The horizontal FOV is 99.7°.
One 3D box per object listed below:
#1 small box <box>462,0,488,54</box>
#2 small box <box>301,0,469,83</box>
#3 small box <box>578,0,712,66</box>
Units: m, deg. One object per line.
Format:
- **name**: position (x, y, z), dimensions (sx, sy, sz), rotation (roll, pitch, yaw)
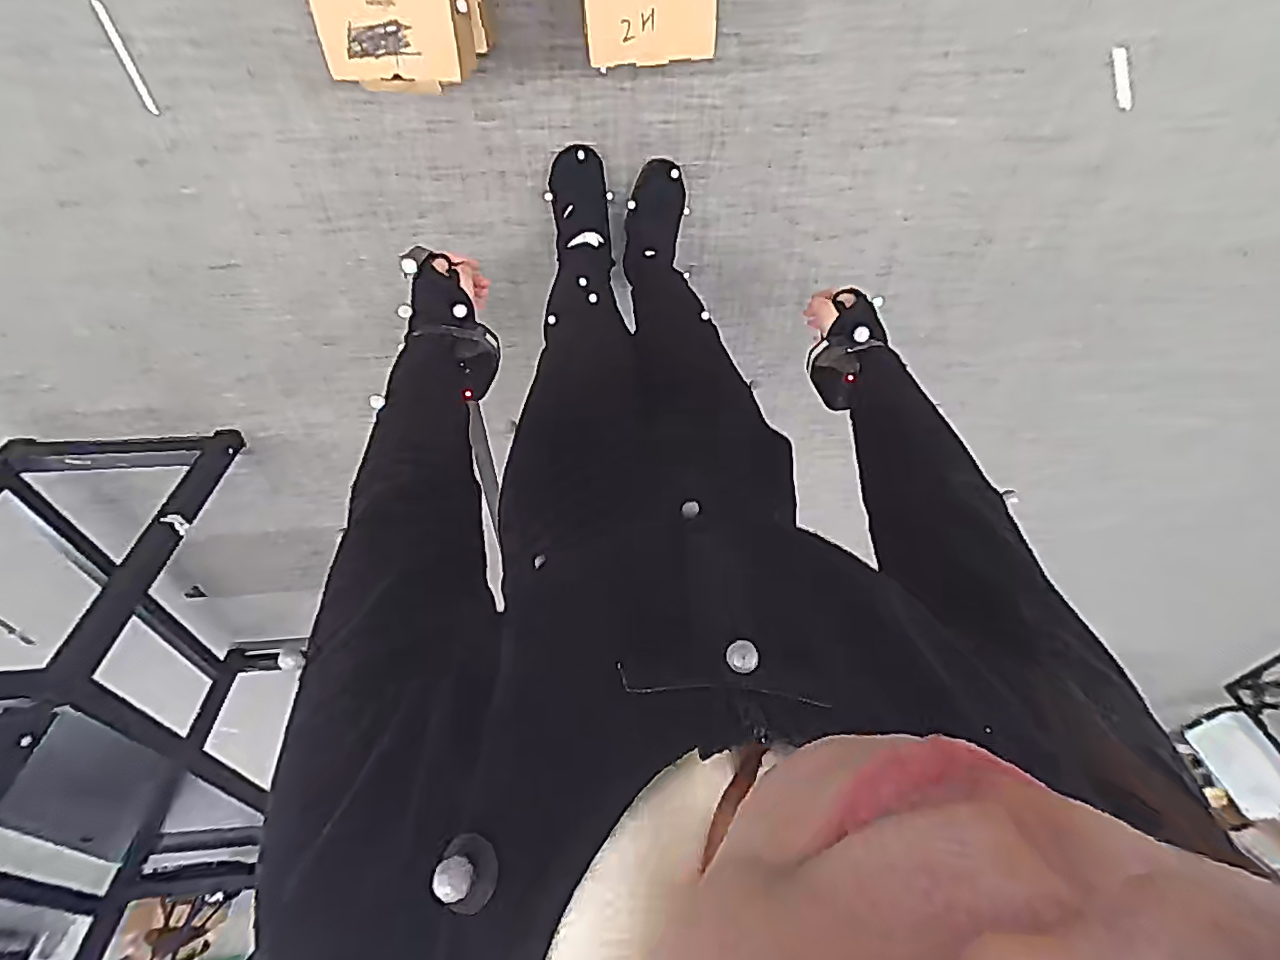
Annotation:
- **small box**: position (-0.329, -0.747, 0.801), dimensions (0.179, 0.176, 0.168), rotation (-4, 135, -3)
- **small box**: position (-0.322, -0.629, 0.687), dimensions (0.168, 0.176, 0.179), rotation (-3, 134, -6)
- **small box**: position (0.000, -0.659, 0.697), dimensions (0.168, 0.176, 0.179), rotation (-5, 136, -1)
